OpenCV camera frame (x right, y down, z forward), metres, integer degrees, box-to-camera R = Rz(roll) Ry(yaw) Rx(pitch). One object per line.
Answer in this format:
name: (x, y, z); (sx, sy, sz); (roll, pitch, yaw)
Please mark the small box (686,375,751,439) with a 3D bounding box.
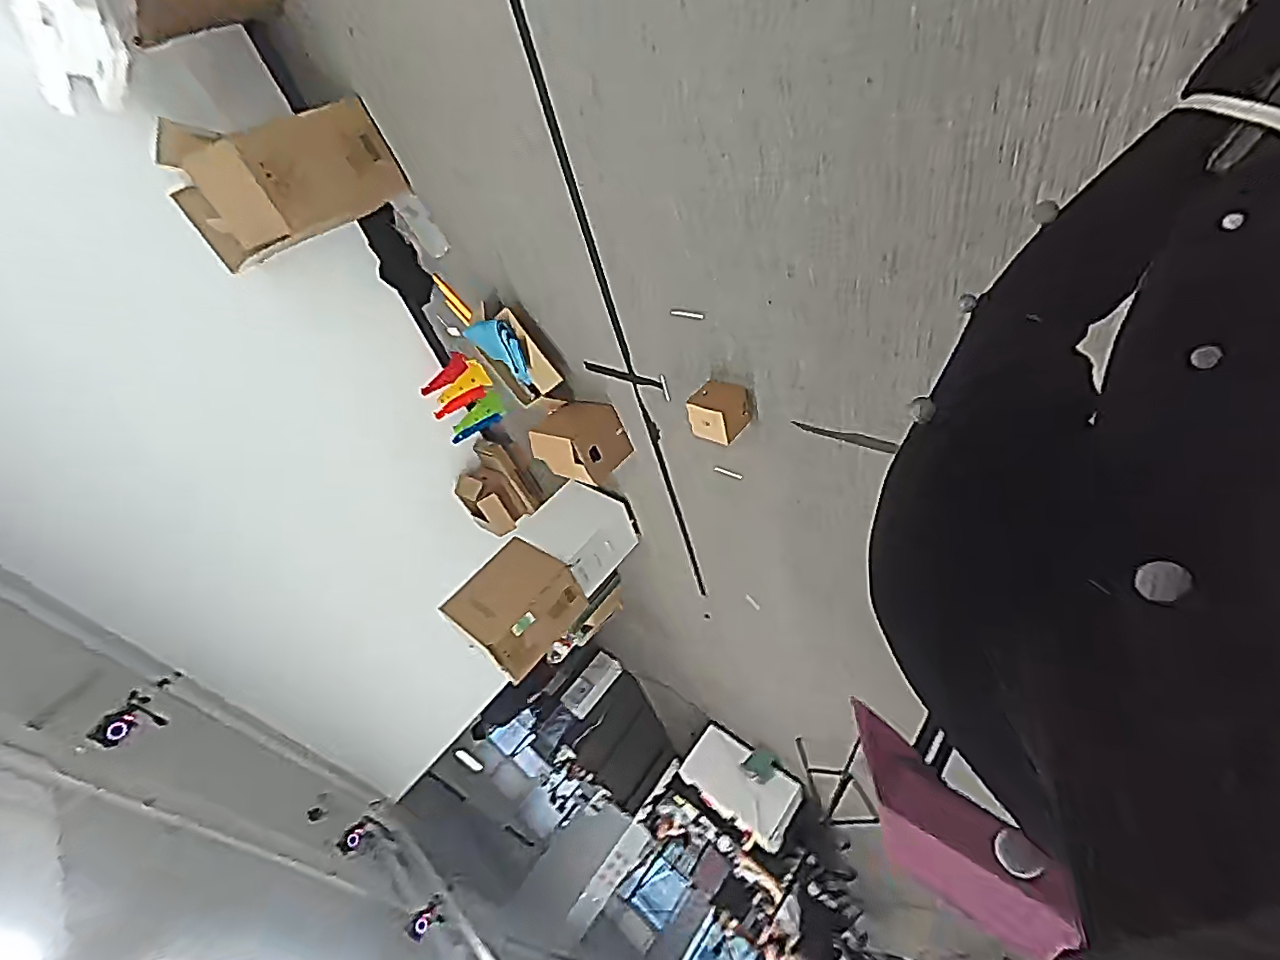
small box: (0.312, -0.293, 2.128); (0.179, 0.176, 0.168); (21, 146, 37)
